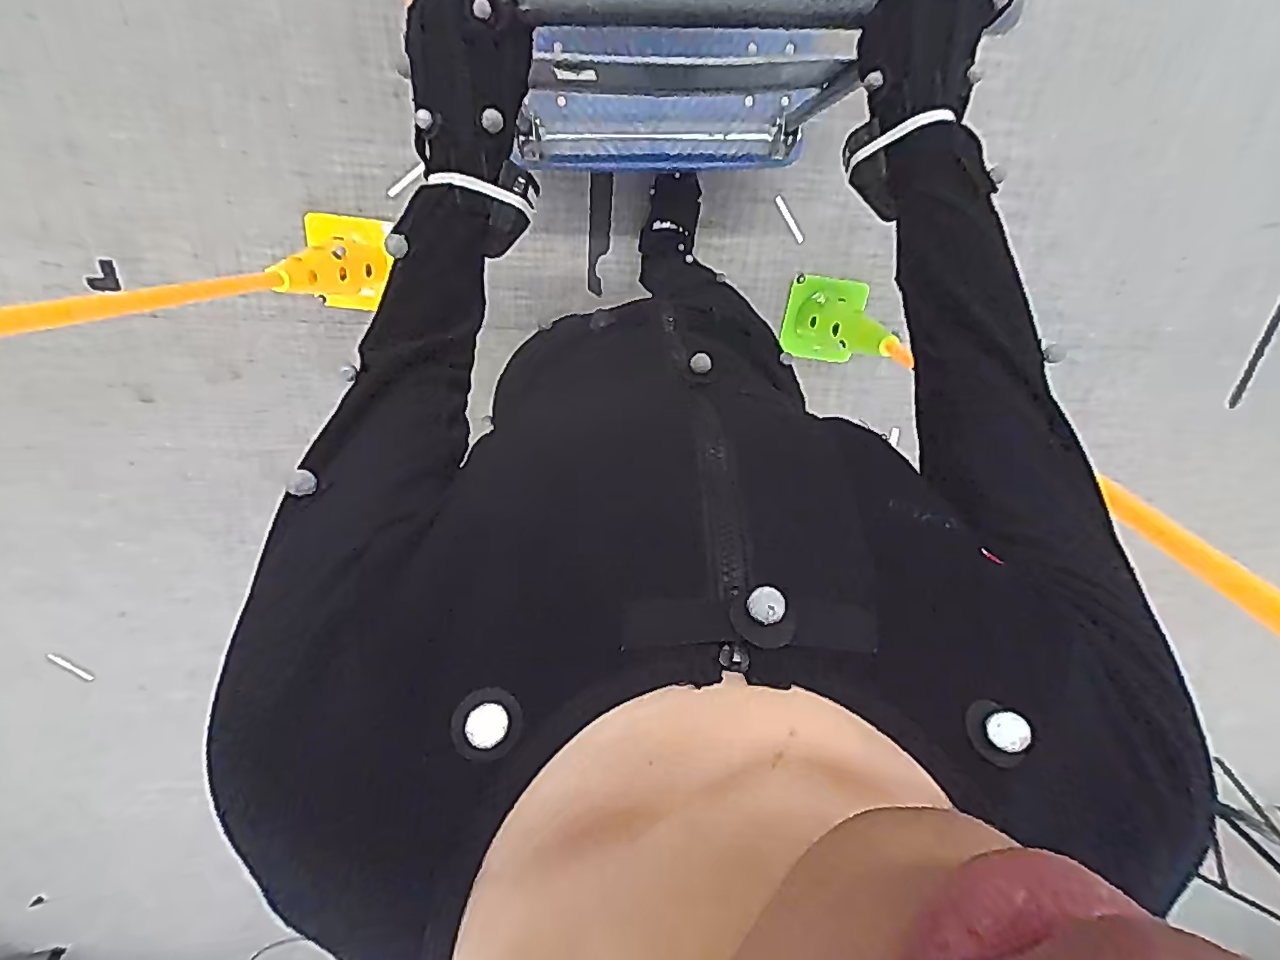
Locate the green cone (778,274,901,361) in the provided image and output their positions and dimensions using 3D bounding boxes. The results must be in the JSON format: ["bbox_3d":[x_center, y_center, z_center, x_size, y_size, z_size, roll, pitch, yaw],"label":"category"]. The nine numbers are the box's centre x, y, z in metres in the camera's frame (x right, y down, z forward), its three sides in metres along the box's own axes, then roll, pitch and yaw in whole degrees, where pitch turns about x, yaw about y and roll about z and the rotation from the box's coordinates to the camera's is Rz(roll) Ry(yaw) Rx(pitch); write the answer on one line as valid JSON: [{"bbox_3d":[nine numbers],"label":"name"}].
[{"bbox_3d":[0.478,-0.339,1.229,0.202,0.368,0.200,4,115,-7],"label":"green cone"}]
